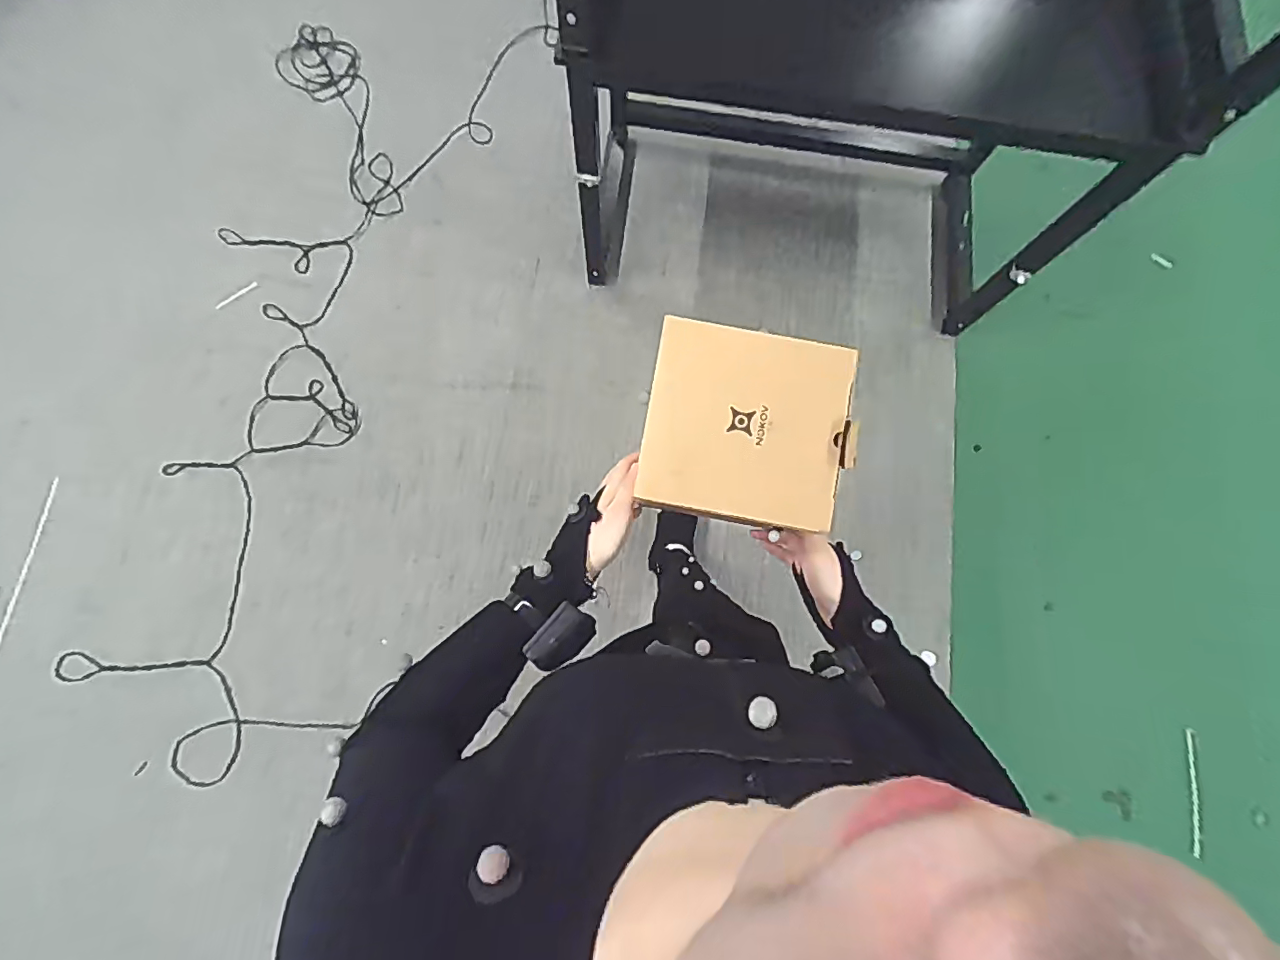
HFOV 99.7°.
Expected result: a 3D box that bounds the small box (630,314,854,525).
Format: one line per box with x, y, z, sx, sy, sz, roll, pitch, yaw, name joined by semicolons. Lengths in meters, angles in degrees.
0.090;-0.047;0.552;0.179;0.176;0.168;10;86;0;small box
